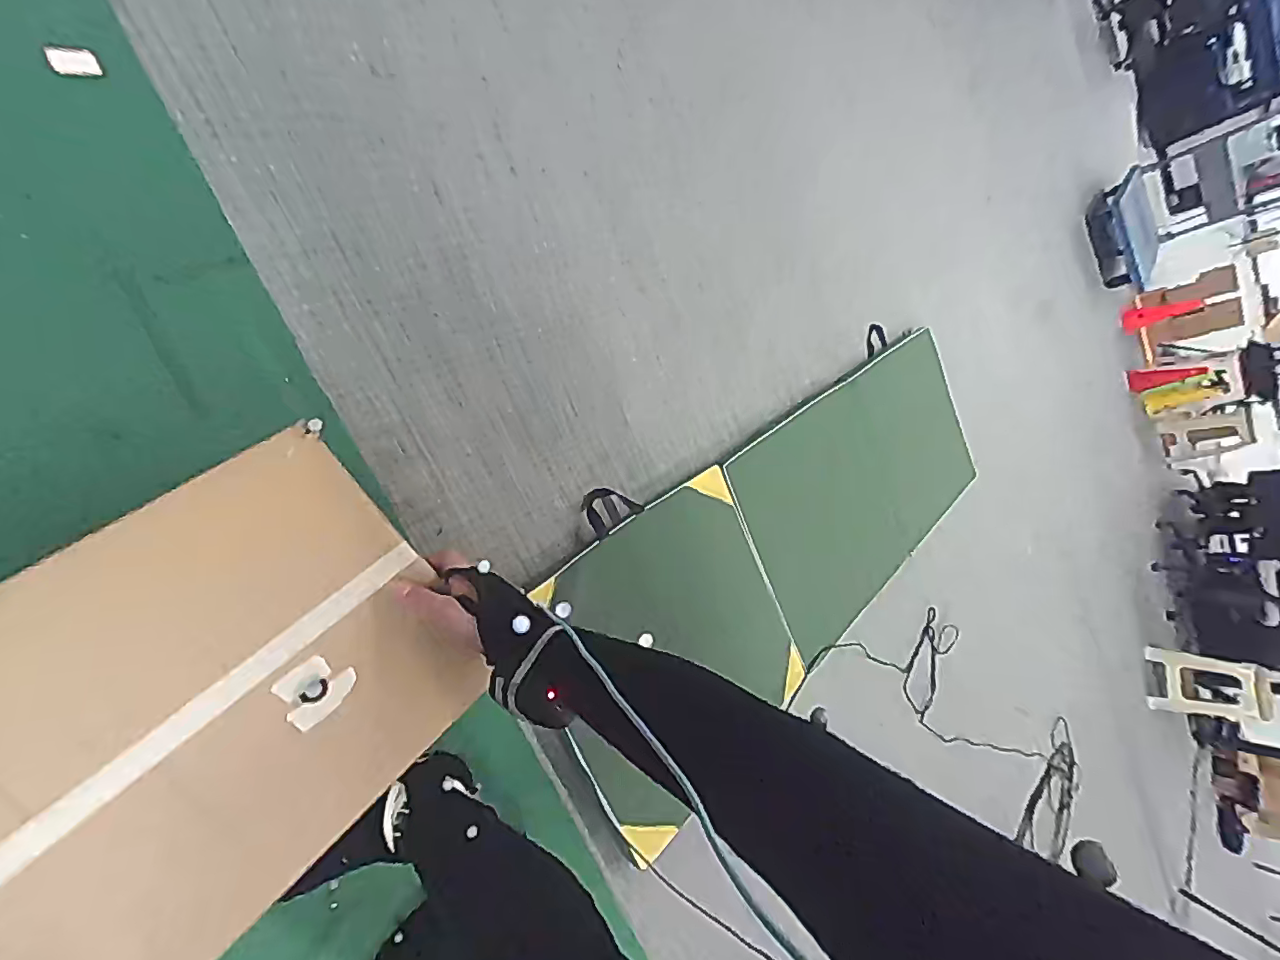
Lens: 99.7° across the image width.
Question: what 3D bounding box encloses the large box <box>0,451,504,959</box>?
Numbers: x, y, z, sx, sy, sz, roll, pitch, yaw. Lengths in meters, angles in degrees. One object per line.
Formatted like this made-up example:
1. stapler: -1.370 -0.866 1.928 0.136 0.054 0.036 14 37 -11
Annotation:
1. large box: -0.425 0.240 0.554 0.408 0.320 0.320 -44 102 -33
